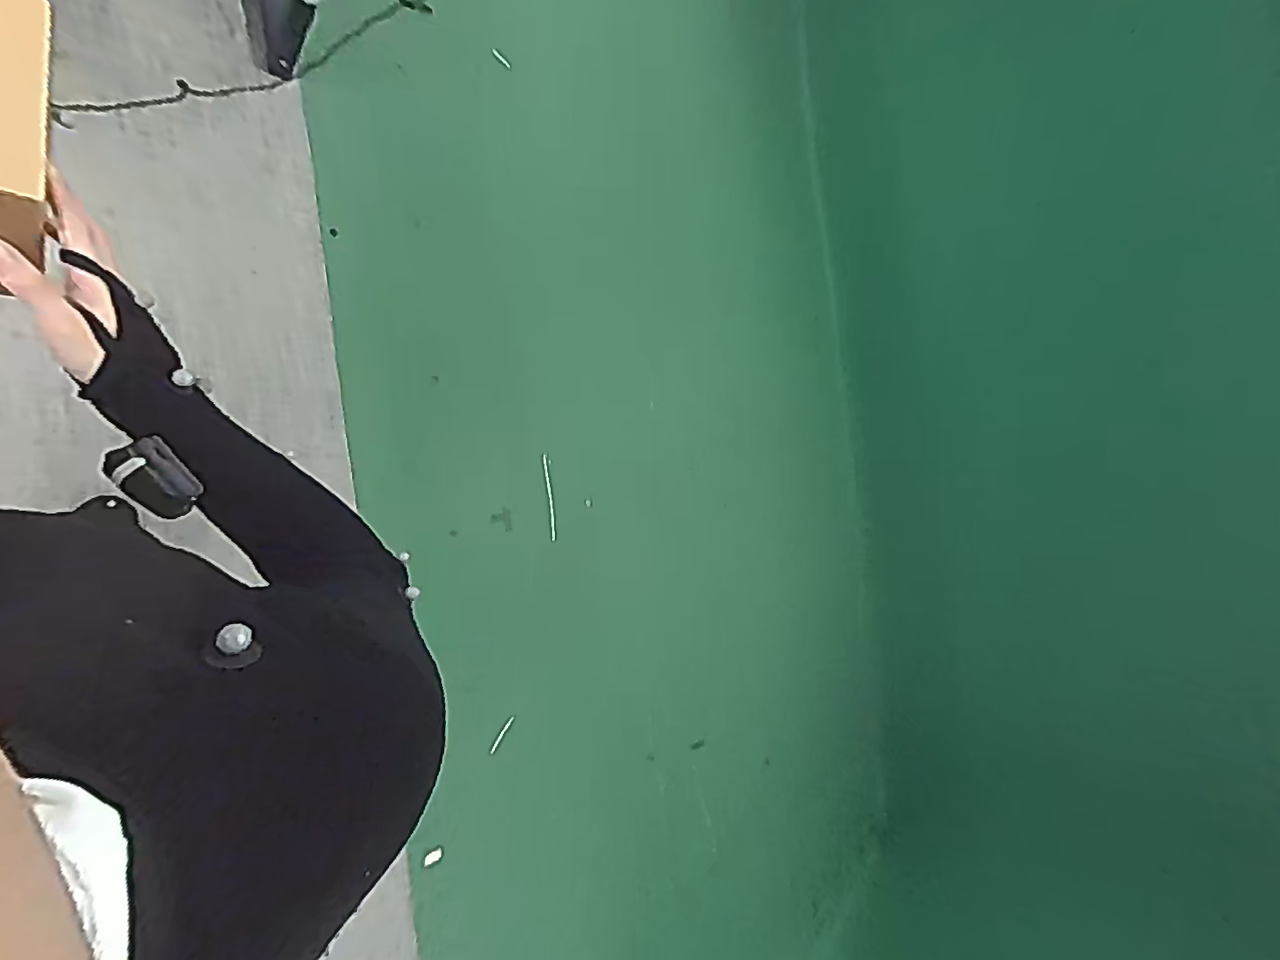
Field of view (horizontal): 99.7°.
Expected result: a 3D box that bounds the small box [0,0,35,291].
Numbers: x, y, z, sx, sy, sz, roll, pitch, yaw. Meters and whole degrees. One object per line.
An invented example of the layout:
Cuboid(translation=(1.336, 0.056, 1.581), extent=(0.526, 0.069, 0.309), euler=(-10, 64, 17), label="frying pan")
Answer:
Cuboid(translation=(-0.547, -0.264, 0.375), extent=(0.168, 0.176, 0.179), euler=(1, 77, -48), label="small box")
